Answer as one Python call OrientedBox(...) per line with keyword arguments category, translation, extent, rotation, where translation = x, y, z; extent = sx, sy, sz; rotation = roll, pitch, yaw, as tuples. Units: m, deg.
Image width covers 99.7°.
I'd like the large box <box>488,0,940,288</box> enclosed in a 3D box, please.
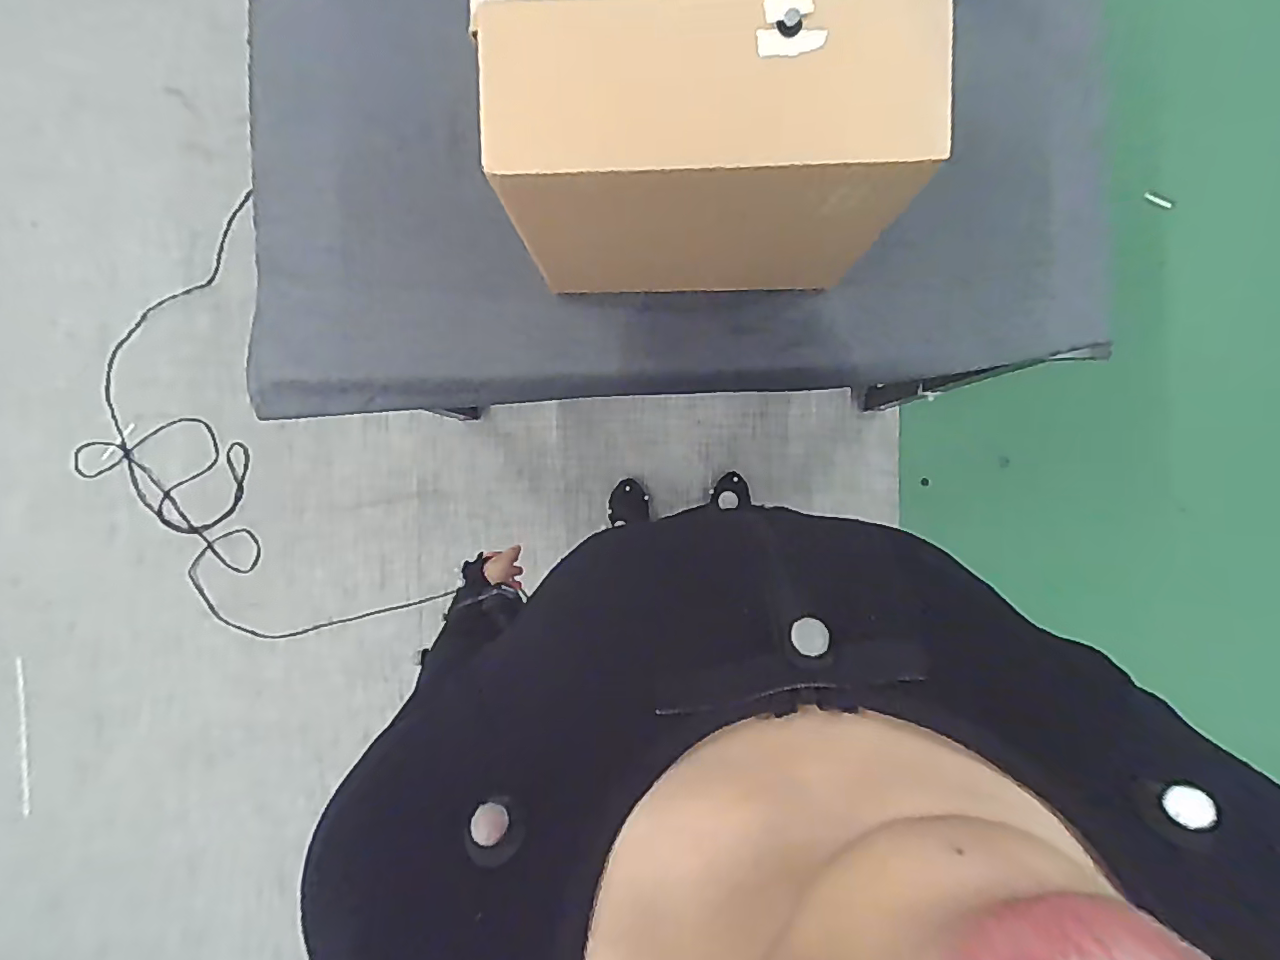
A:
OrientedBox(category="large box", translation=(0.064, -0.434, 0.628), extent=(0.408, 0.320, 0.320), rotation=(-1, 91, 2))
